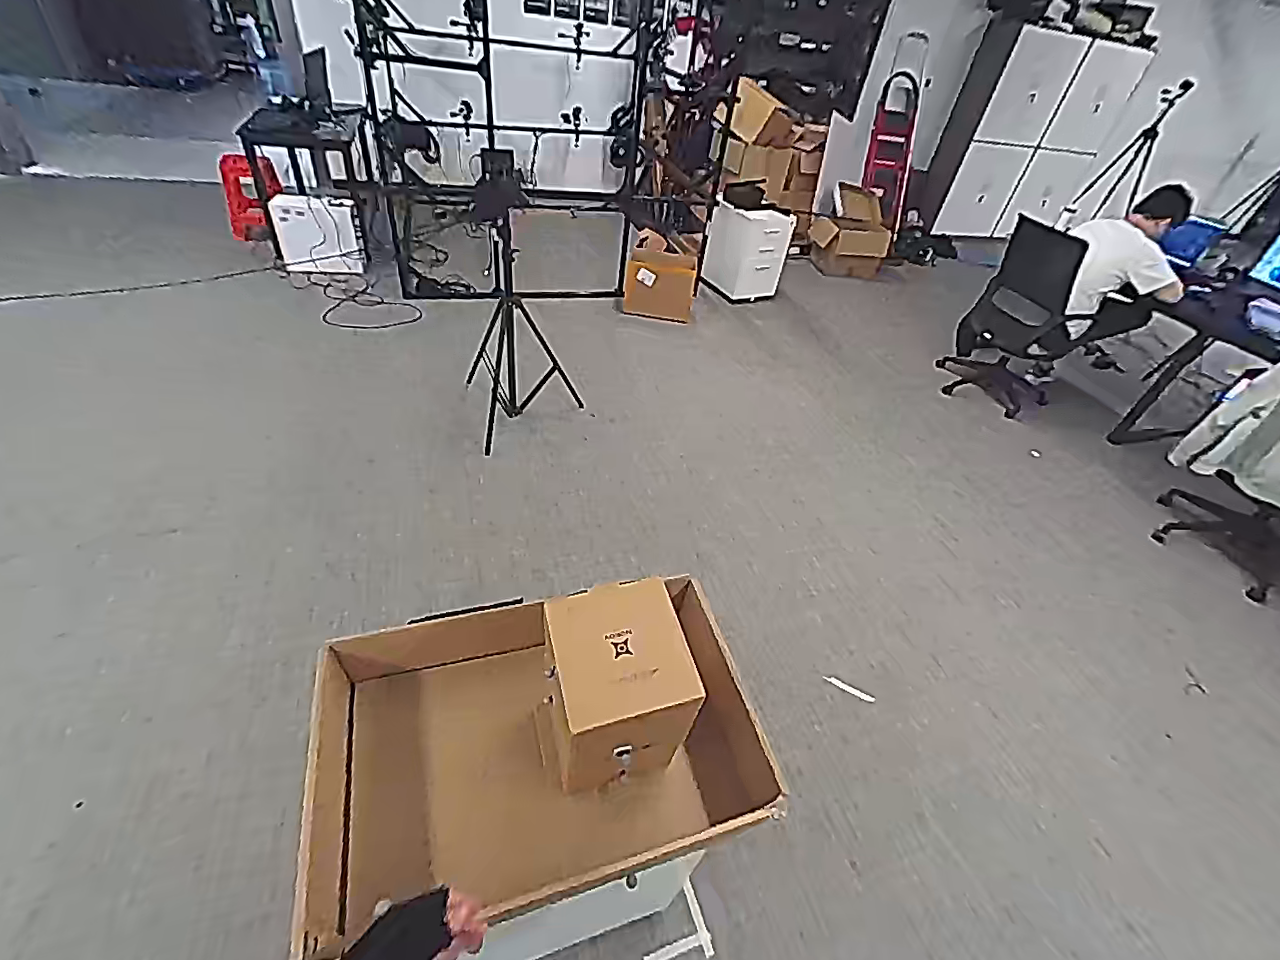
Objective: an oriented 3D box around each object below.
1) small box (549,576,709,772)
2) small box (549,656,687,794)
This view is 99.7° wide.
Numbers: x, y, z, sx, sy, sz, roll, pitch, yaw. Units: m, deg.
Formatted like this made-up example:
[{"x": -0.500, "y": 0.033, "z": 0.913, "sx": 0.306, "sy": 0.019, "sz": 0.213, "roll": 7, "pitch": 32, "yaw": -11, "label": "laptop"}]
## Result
[{"x": -0.027, "y": 0.260, "z": 0.731, "sx": 0.168, "sy": 0.176, "sz": 0.179, "roll": -10, "pitch": 50, "yaw": -15, "label": "small box"}, {"x": -0.045, "y": 0.367, "z": 0.853, "sx": 0.179, "sy": 0.176, "sz": 0.168, "roll": -8, "pitch": 48, "yaw": -17, "label": "small box"}]
